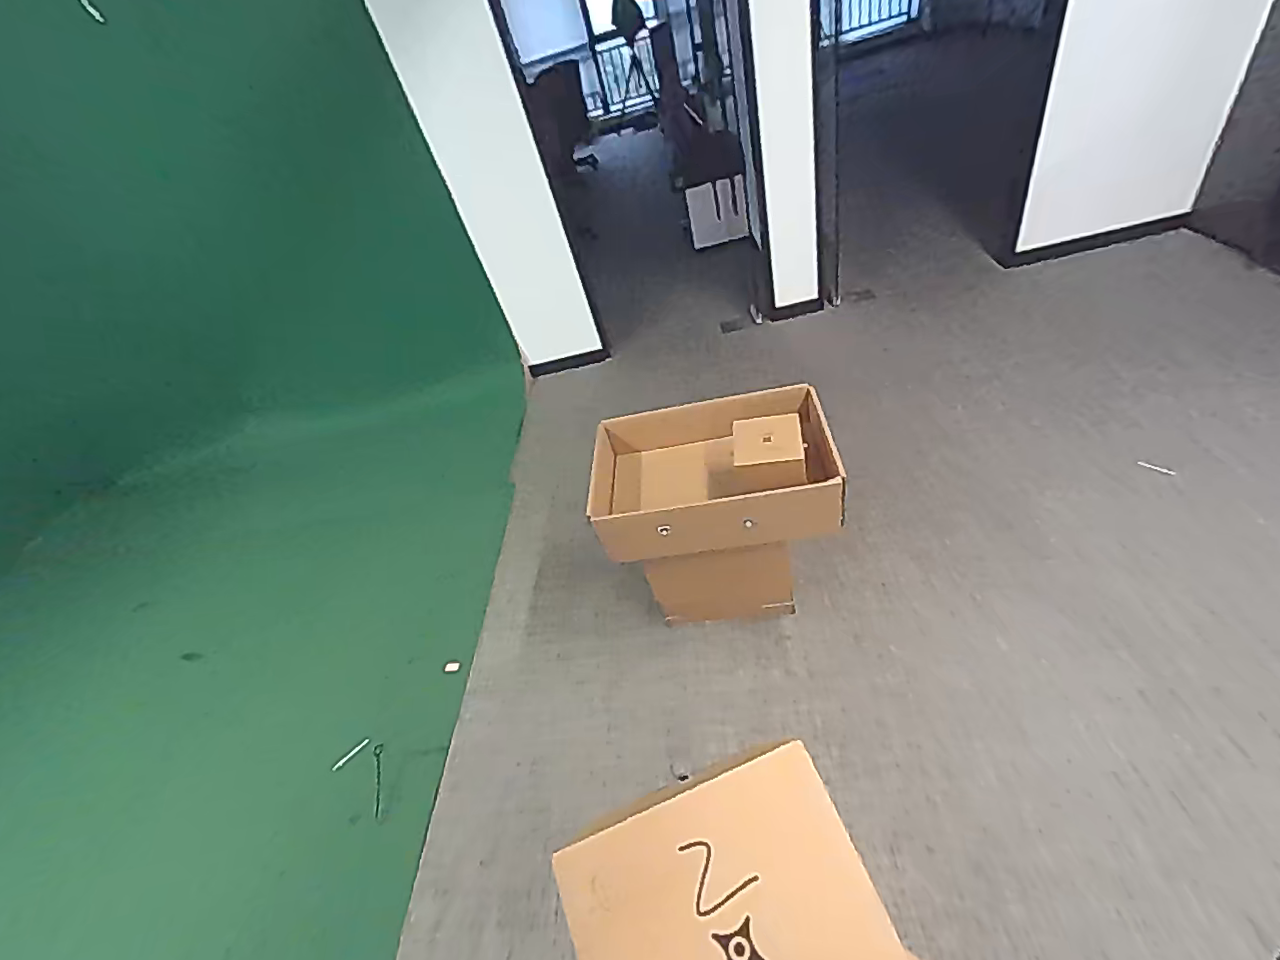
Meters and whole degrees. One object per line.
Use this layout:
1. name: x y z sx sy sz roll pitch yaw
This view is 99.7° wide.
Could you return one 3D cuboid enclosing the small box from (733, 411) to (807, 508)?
1. small box: 0.331 -0.050 1.374 0.168 0.176 0.179 -7 42 16
